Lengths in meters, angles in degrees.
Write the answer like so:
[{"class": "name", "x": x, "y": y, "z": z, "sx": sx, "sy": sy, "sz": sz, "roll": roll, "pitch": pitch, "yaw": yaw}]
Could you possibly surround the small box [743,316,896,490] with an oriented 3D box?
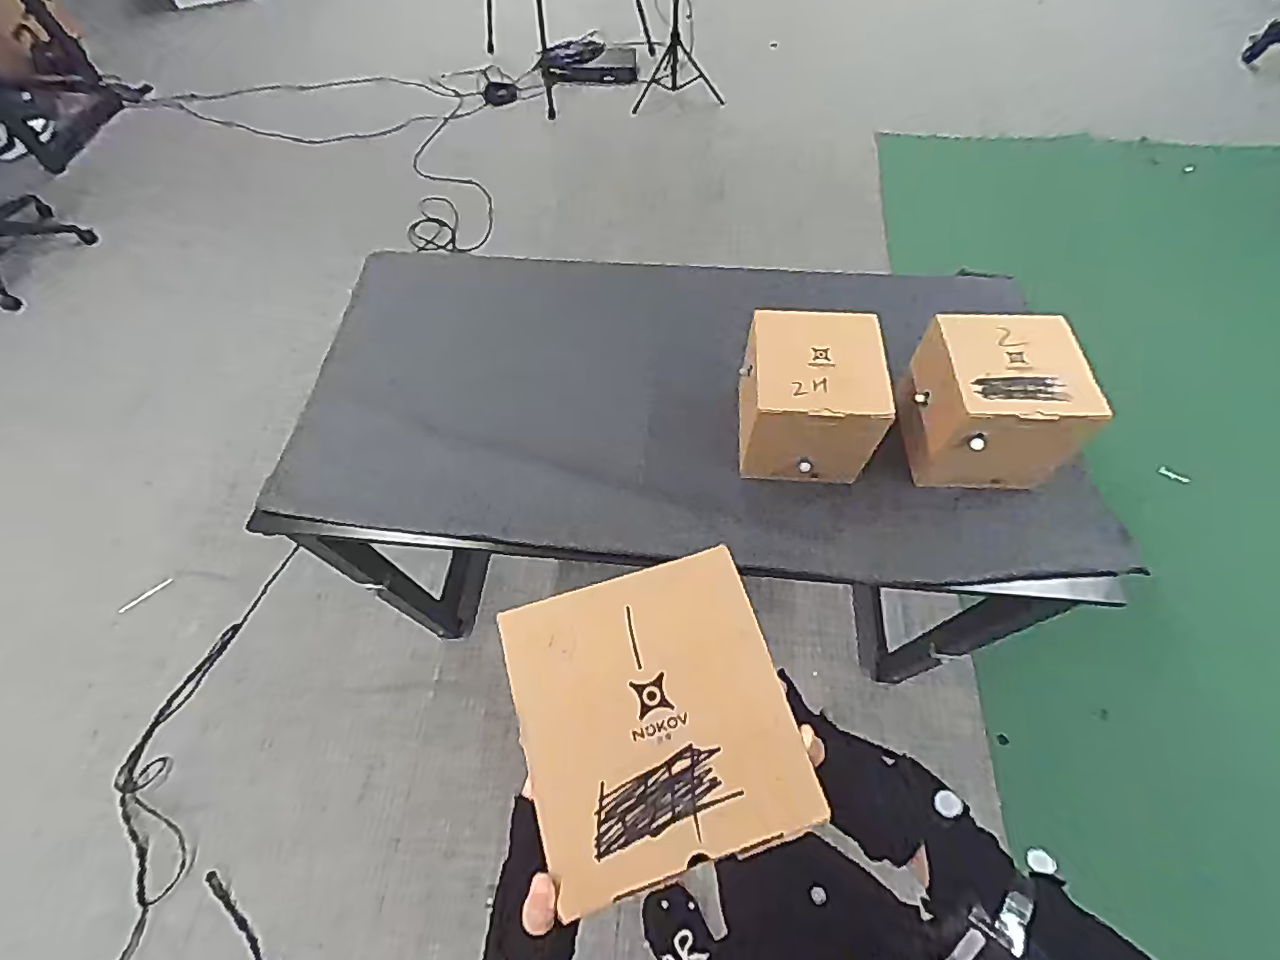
[{"class": "small box", "x": 0.238, "y": -0.106, "z": 0.765, "sx": 0.168, "sy": 0.176, "sz": 0.179, "roll": 3, "pitch": 60, "yaw": 5}]
